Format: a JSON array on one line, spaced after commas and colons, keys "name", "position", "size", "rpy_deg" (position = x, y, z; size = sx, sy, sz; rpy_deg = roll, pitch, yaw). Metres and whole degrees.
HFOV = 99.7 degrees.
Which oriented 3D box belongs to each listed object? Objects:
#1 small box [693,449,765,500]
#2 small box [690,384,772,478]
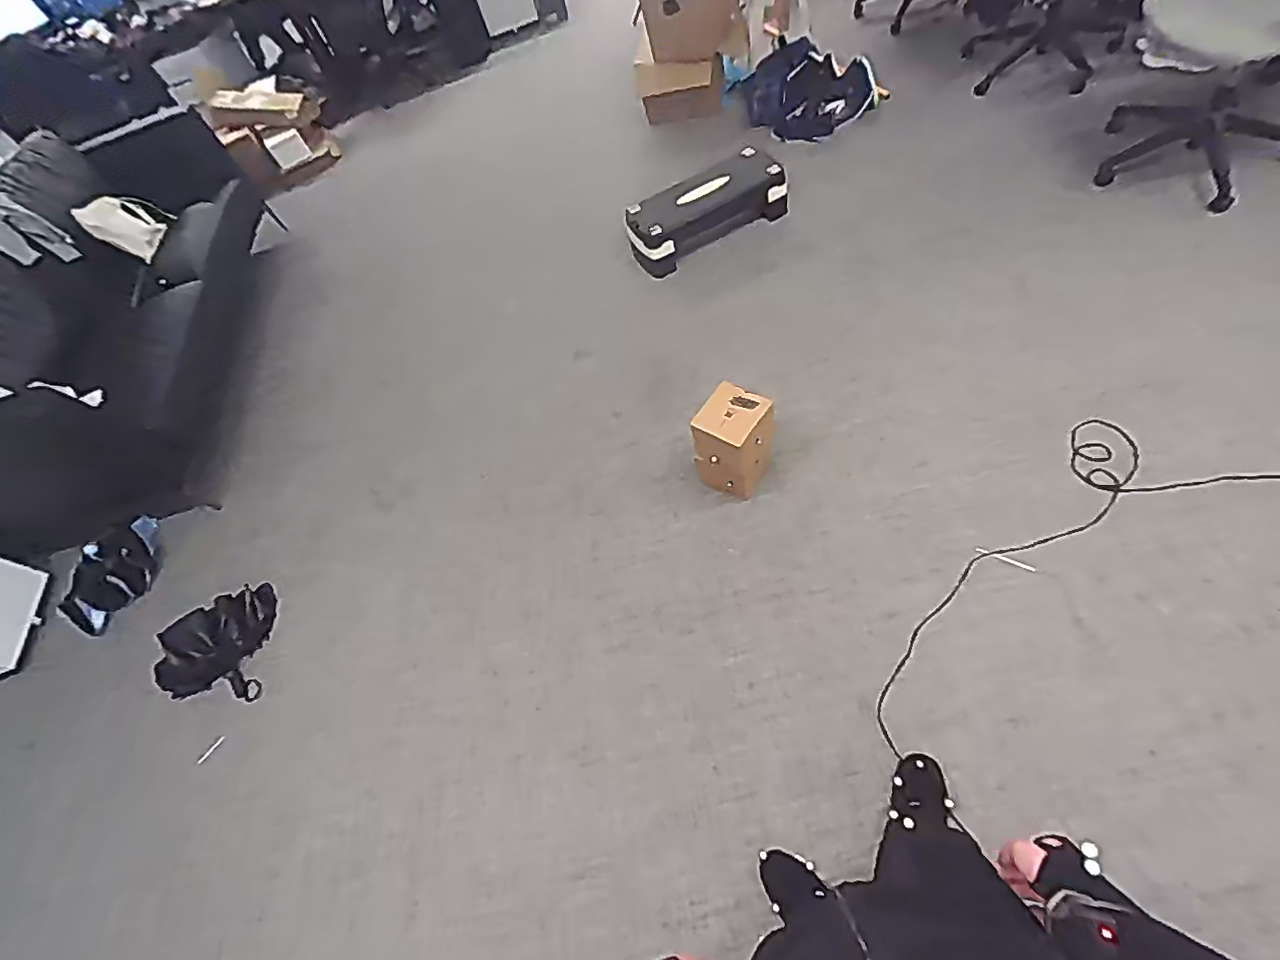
[{"name": "small box", "position": [0.289, -0.065, 1.709], "size": [0.168, 0.176, 0.179], "rpy_deg": [22, 66, 25]}, {"name": "small box", "position": [0.267, -0.140, 1.564], "size": [0.168, 0.176, 0.179], "rpy_deg": [30, 72, 28]}]
